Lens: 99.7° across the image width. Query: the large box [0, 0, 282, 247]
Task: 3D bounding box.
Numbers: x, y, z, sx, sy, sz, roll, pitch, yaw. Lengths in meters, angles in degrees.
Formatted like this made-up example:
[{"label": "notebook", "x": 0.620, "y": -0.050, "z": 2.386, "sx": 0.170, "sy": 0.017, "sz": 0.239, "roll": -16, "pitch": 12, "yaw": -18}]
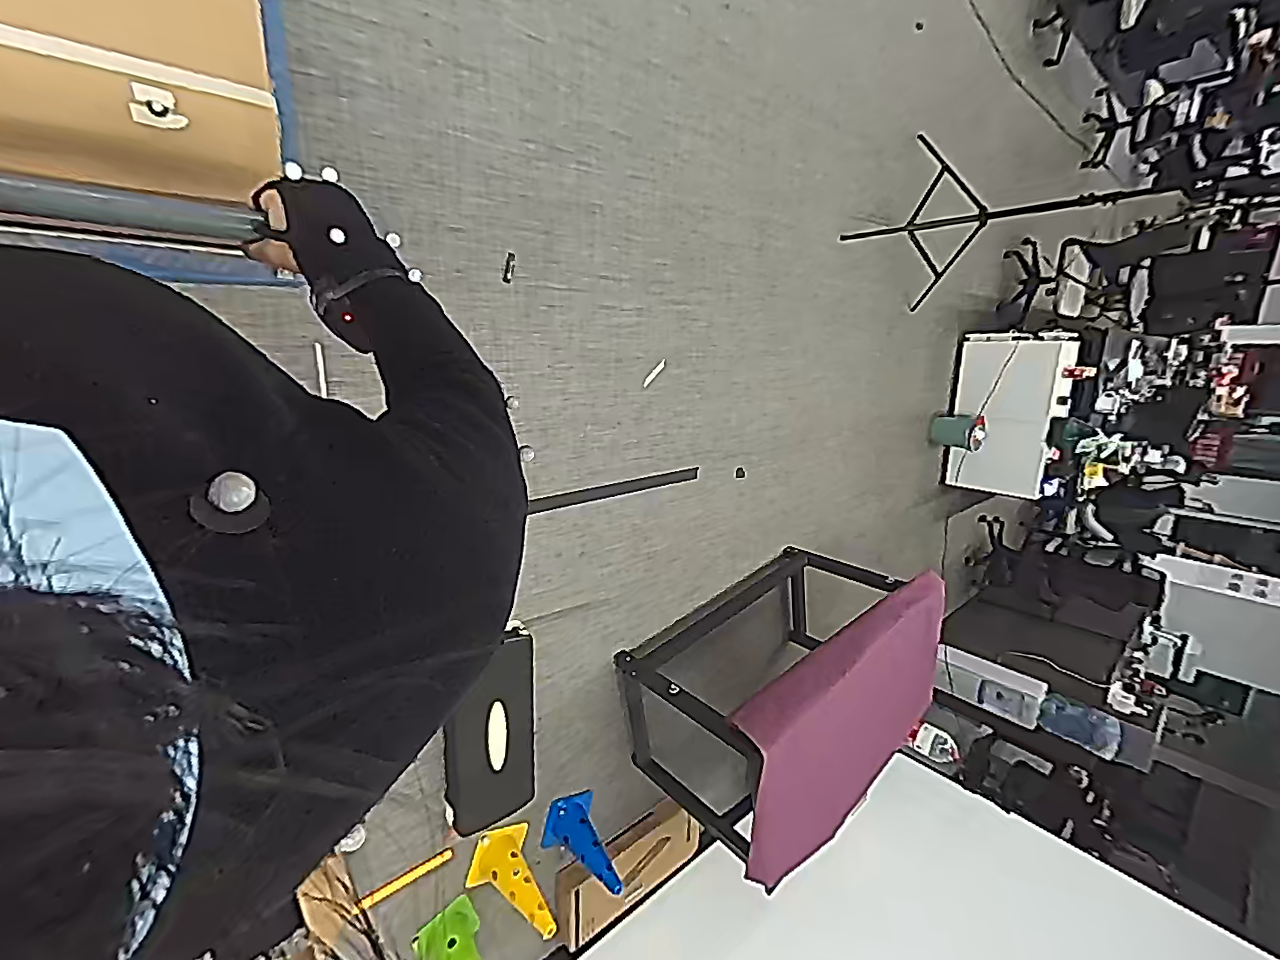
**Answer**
[{"label": "large box", "x": -0.795, "y": -0.541, "z": 0.774, "sx": 0.408, "sy": 0.320, "sz": 0.320, "roll": -11, "pitch": 108, "yaw": -40}]
